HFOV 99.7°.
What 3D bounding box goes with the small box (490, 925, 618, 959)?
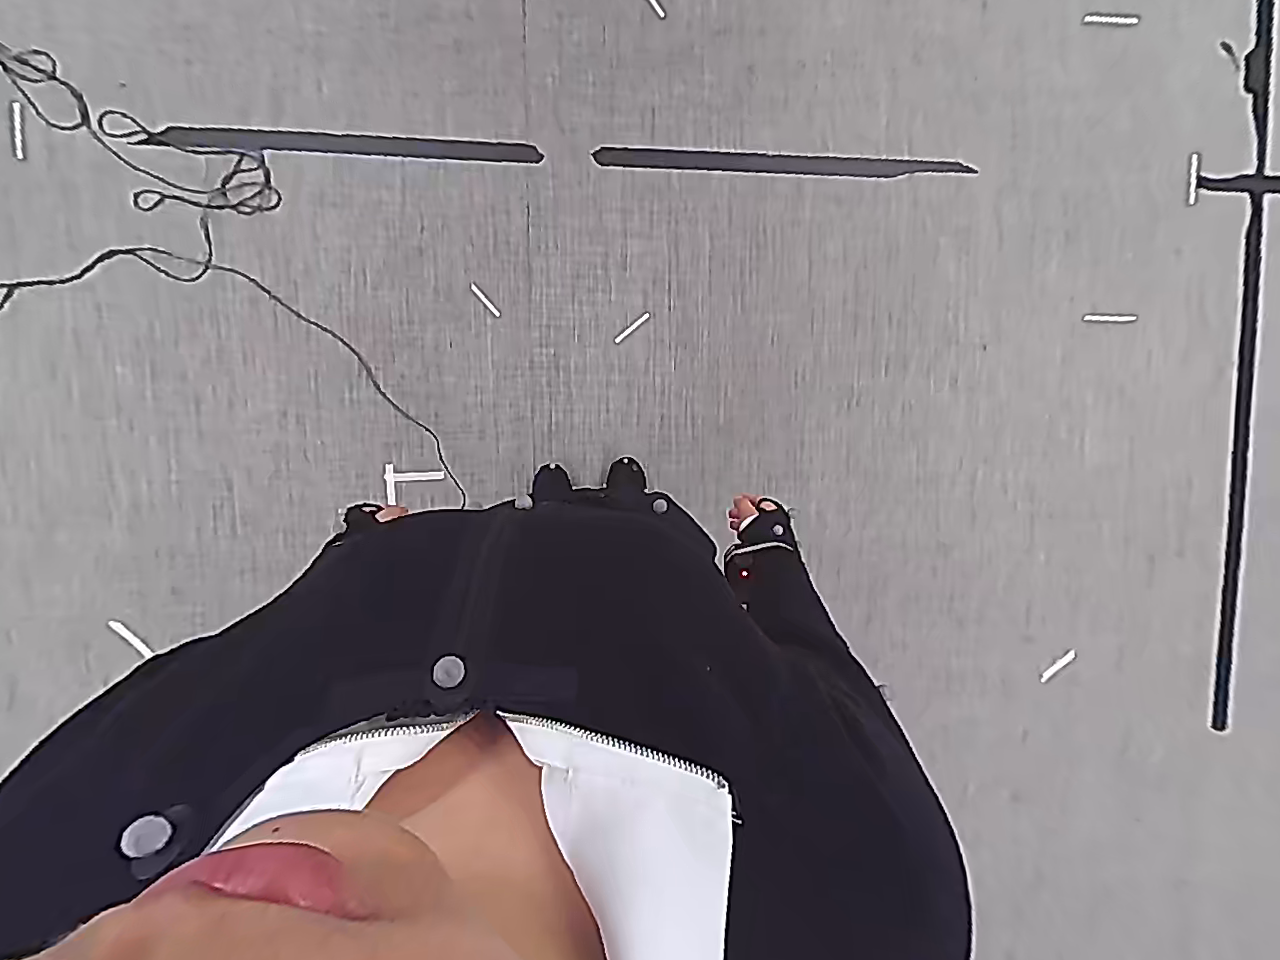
[{"bbox_3d":[-0.108,0.687,0.658,0.168,0.176,0.179,-2,92,-2],"label":"small box"}]
